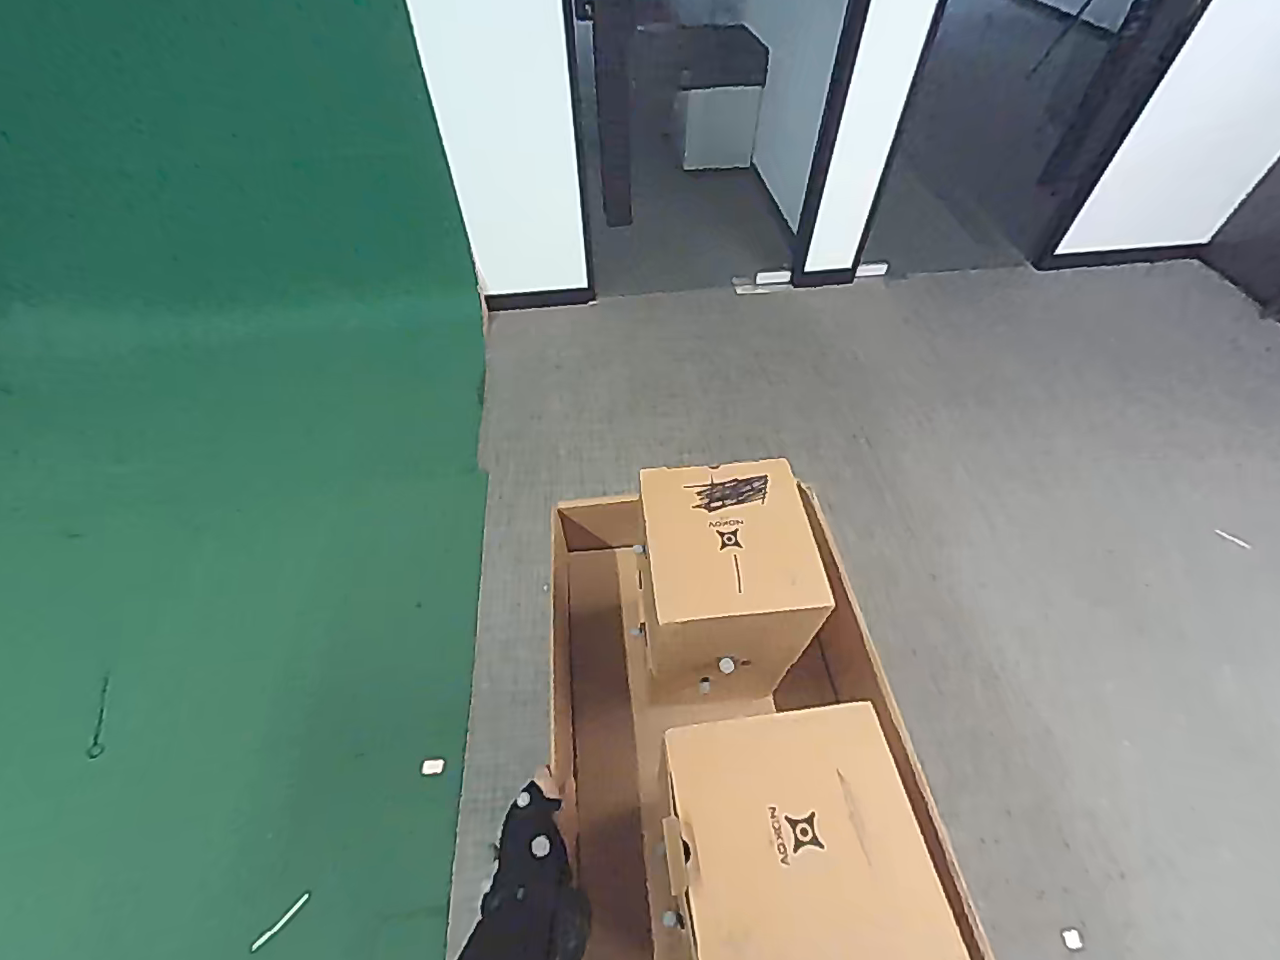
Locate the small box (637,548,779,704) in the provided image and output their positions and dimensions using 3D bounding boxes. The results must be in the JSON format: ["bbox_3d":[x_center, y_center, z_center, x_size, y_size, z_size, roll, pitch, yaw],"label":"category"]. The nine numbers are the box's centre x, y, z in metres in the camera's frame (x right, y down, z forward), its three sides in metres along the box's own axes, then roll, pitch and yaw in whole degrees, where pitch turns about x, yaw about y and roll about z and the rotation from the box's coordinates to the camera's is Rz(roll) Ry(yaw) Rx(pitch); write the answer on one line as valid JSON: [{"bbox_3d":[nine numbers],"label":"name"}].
[{"bbox_3d":[0.090,0.196,0.737,0.179,0.176,0.168,-4,54,-2],"label":"small box"}]

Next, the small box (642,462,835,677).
[{"bbox_3d":[0.090,0.102,0.603,0.168,0.176,0.179,-5,54,-3],"label":"small box"}]

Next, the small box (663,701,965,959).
[{"bbox_3d":[0.116,0.303,0.452,0.179,0.176,0.168,-6,52,-5],"label":"small box"}]
